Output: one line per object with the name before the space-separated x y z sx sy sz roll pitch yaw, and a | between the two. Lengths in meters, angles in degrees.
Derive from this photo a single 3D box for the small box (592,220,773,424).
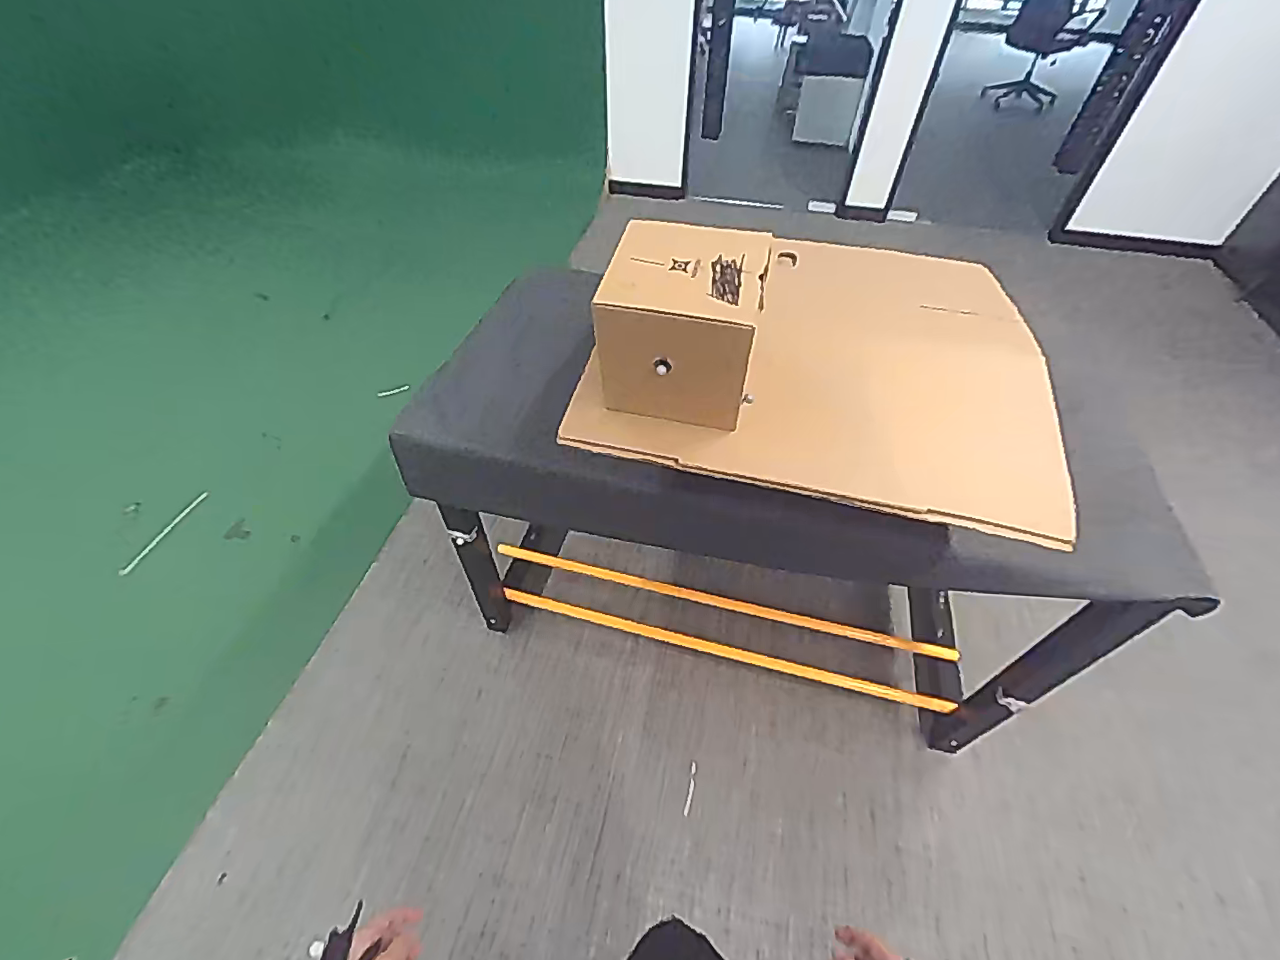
small box | 0.054 -0.190 0.671 0.179 0.176 0.168 11 57 10
